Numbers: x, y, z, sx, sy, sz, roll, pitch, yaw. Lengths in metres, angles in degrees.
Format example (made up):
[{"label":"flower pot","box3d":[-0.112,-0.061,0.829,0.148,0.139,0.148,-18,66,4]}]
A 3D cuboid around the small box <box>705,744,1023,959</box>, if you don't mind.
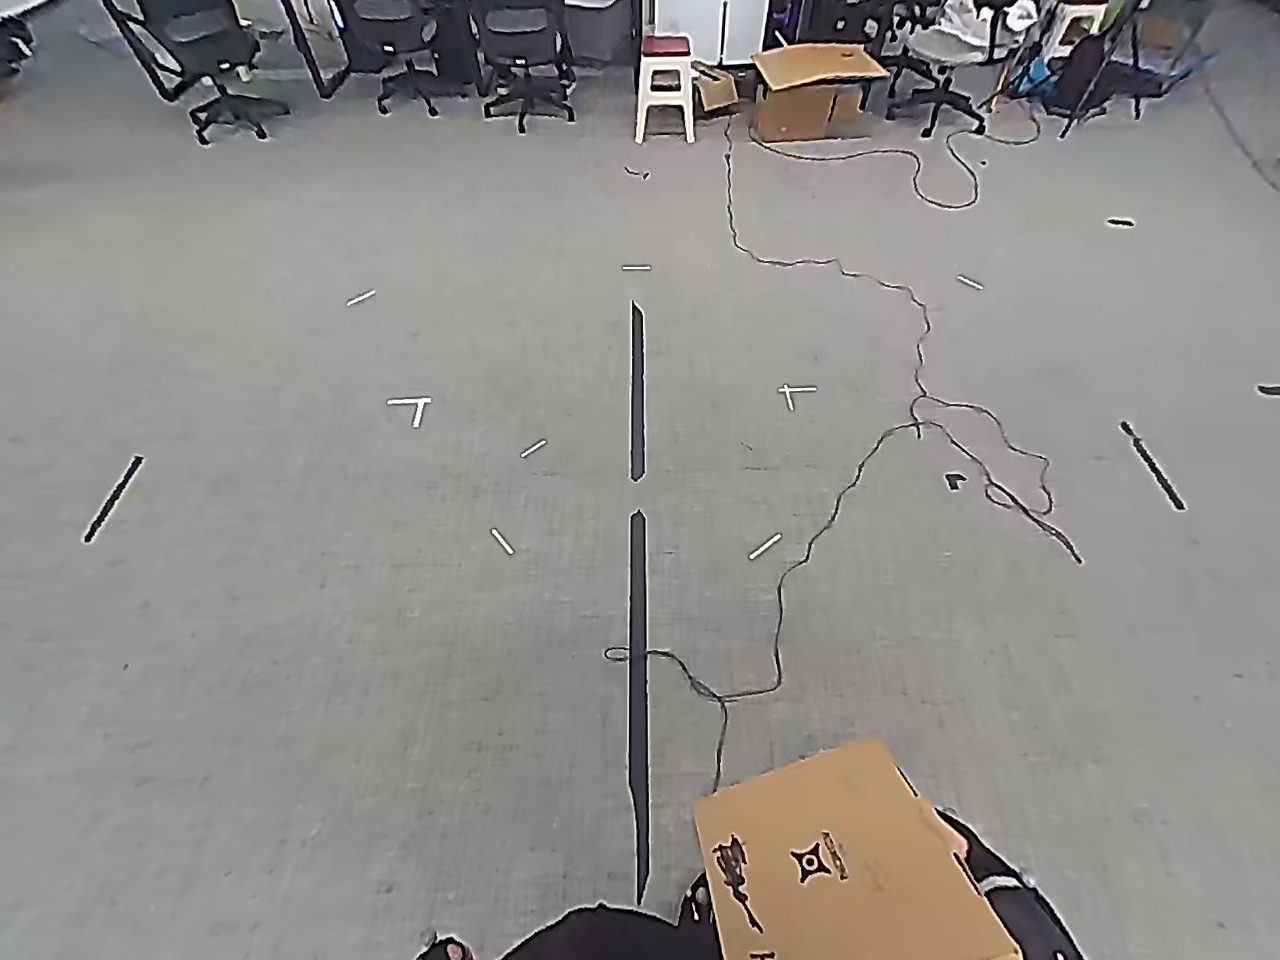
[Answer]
[{"label":"small box","box3d":[0.171,0.358,0.431,0.179,0.176,0.168,-20,17,2]}]
